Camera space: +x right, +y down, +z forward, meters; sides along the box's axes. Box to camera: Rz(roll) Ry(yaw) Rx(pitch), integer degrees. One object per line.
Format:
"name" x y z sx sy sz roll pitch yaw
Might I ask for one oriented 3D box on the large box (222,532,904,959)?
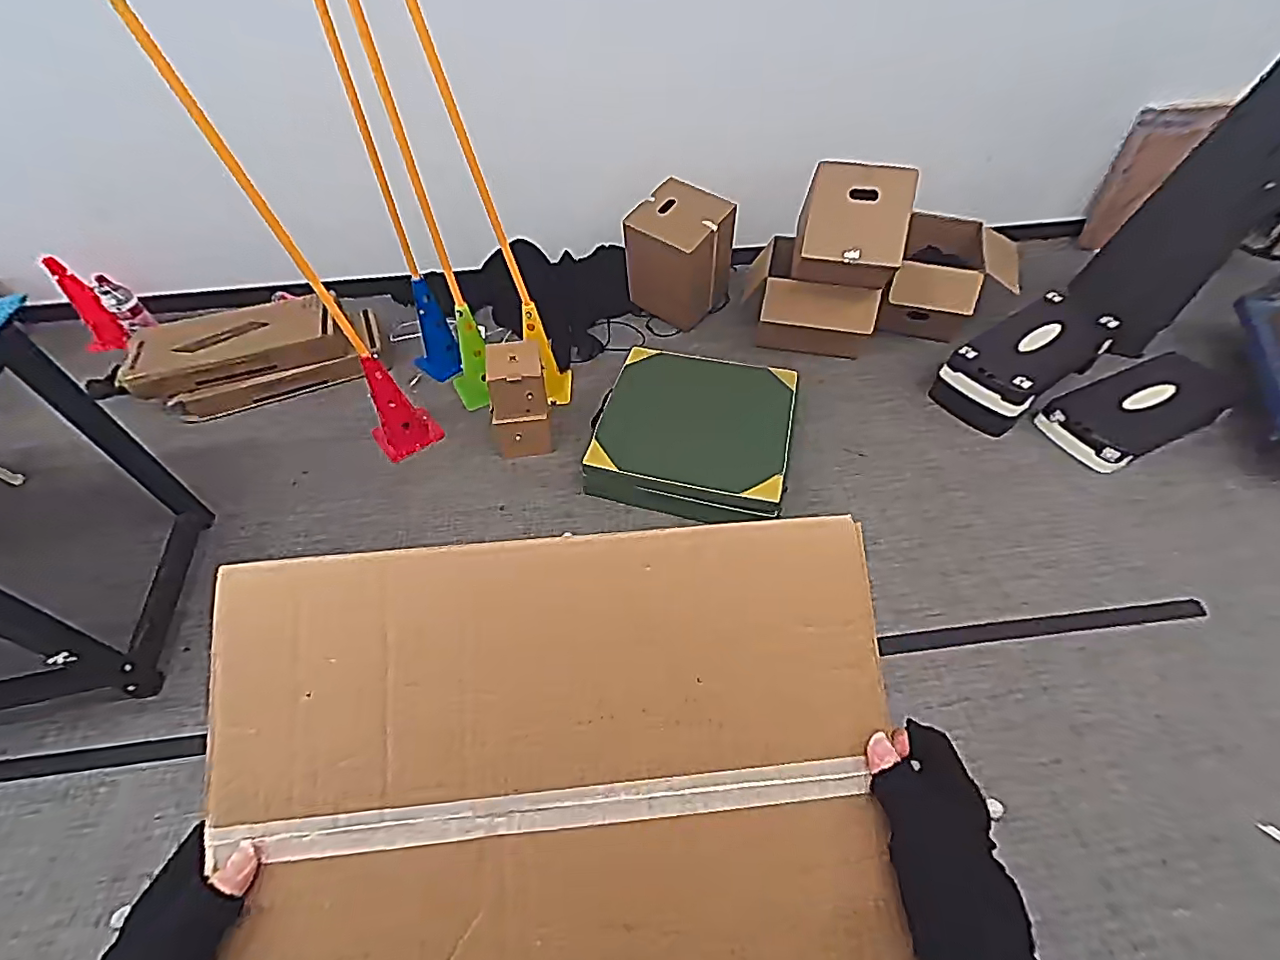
"large box" -0.052 0.228 0.480 0.408 0.320 0.320 -5 80 -3
